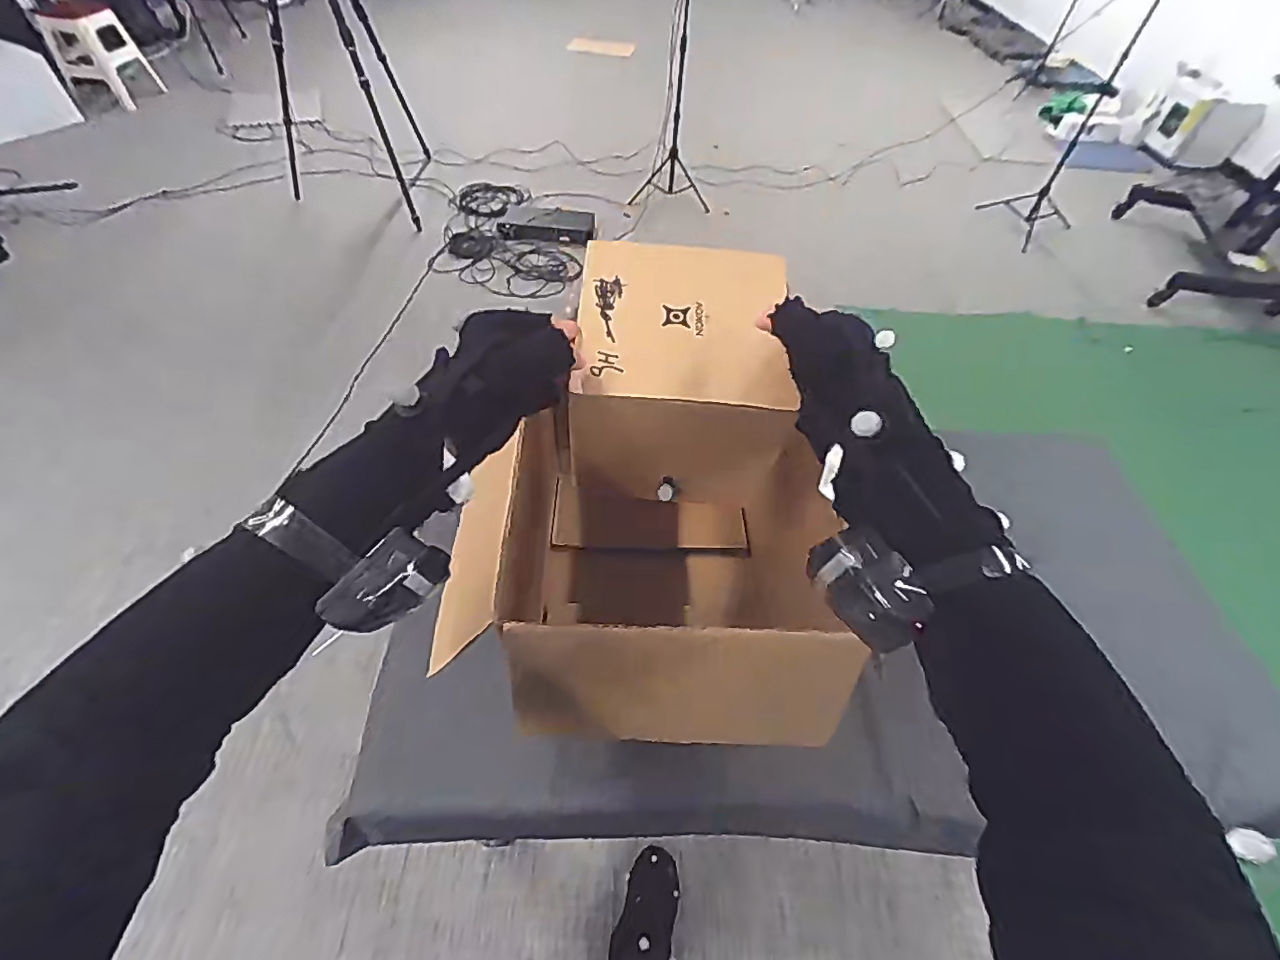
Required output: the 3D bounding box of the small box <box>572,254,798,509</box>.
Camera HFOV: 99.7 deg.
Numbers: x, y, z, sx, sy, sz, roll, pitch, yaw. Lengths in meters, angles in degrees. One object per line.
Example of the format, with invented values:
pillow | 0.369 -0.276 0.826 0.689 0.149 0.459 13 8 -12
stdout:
small box | 0.031 -0.083 0.514 0.179 0.176 0.168 5 59 -3
